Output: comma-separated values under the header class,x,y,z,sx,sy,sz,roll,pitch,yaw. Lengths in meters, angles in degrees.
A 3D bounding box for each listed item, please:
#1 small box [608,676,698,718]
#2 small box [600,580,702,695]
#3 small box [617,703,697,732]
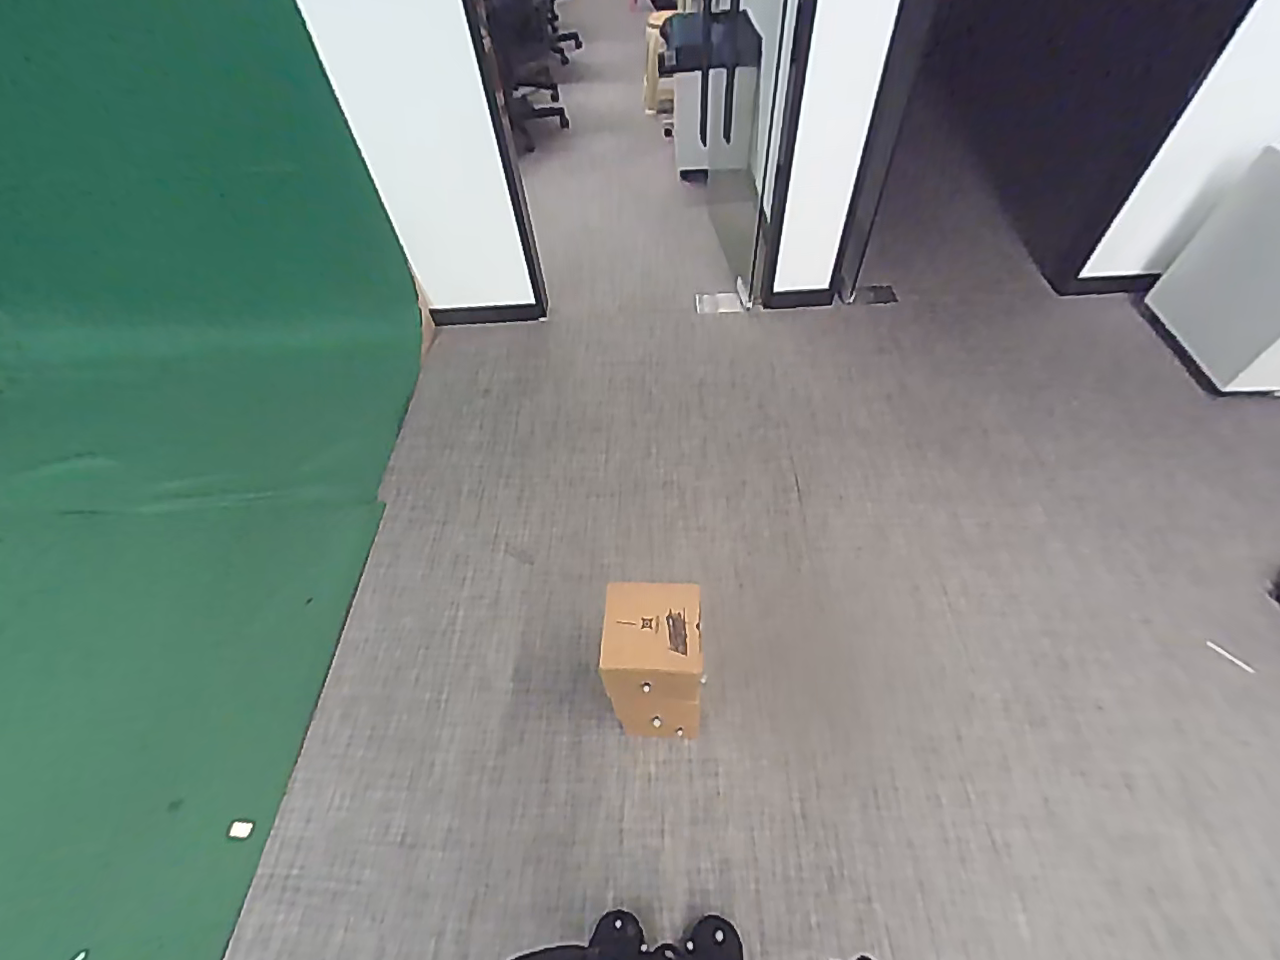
class,x,y,z,sx,sy,sz,roll,pitch,yaw
small box,0.034,0.404,1.163,0.179,0.176,0.168,3,53,6
small box,0.022,0.304,1.032,0.179,0.176,0.168,0,53,2
small box,0.044,0.497,1.297,0.179,0.176,0.168,-1,53,5
